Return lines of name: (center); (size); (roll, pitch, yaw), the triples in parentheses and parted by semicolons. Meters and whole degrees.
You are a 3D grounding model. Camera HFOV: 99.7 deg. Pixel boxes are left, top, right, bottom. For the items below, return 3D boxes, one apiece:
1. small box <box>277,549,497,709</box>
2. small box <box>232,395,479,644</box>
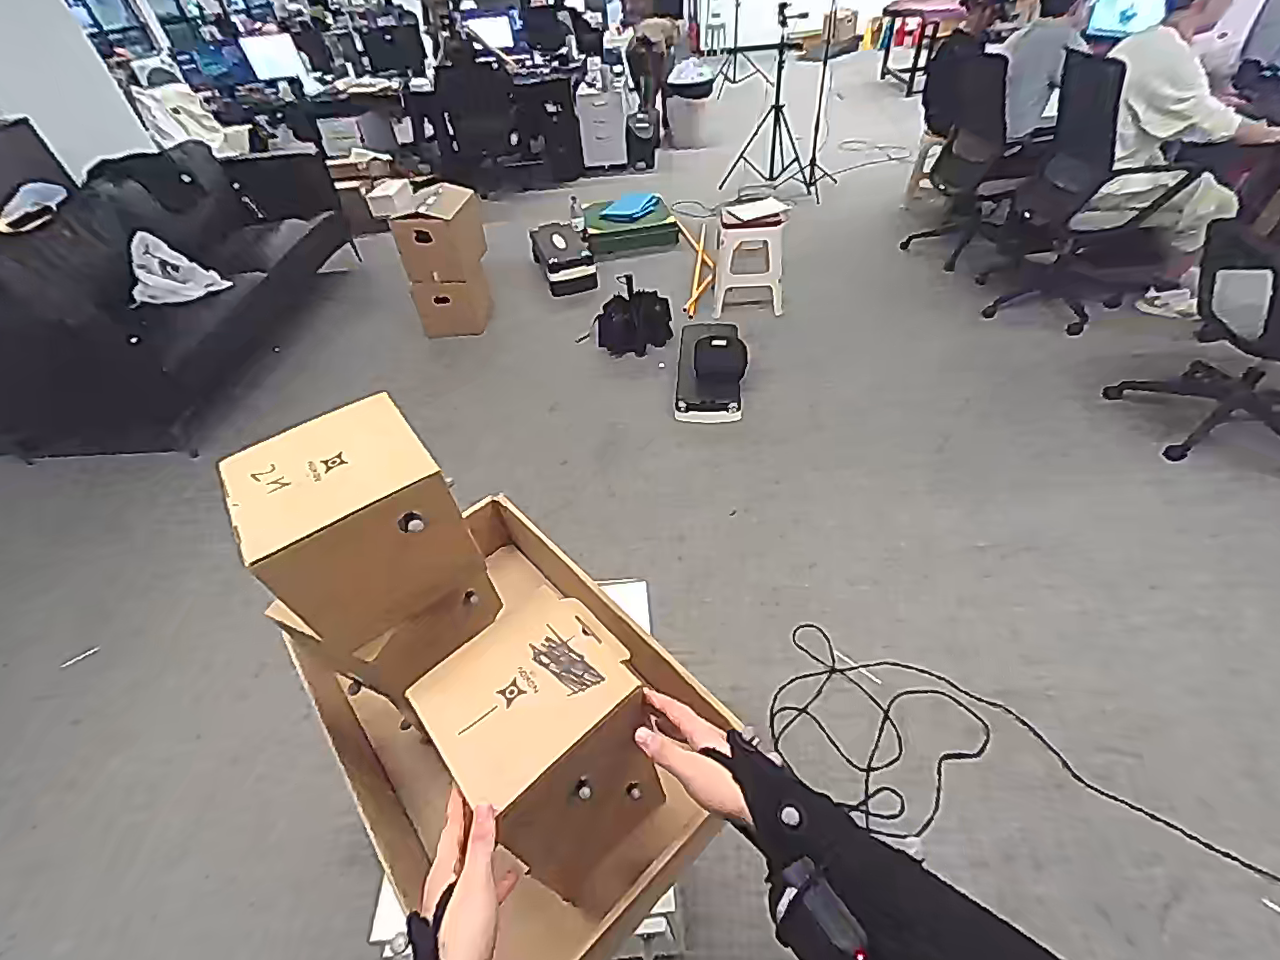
small box: (-0.309, 0.166, 0.710); (0.168, 0.176, 0.179); (14, 51, 20)
small box: (-0.297, 0.042, 0.597); (0.179, 0.176, 0.168); (-31, 50, -21)
